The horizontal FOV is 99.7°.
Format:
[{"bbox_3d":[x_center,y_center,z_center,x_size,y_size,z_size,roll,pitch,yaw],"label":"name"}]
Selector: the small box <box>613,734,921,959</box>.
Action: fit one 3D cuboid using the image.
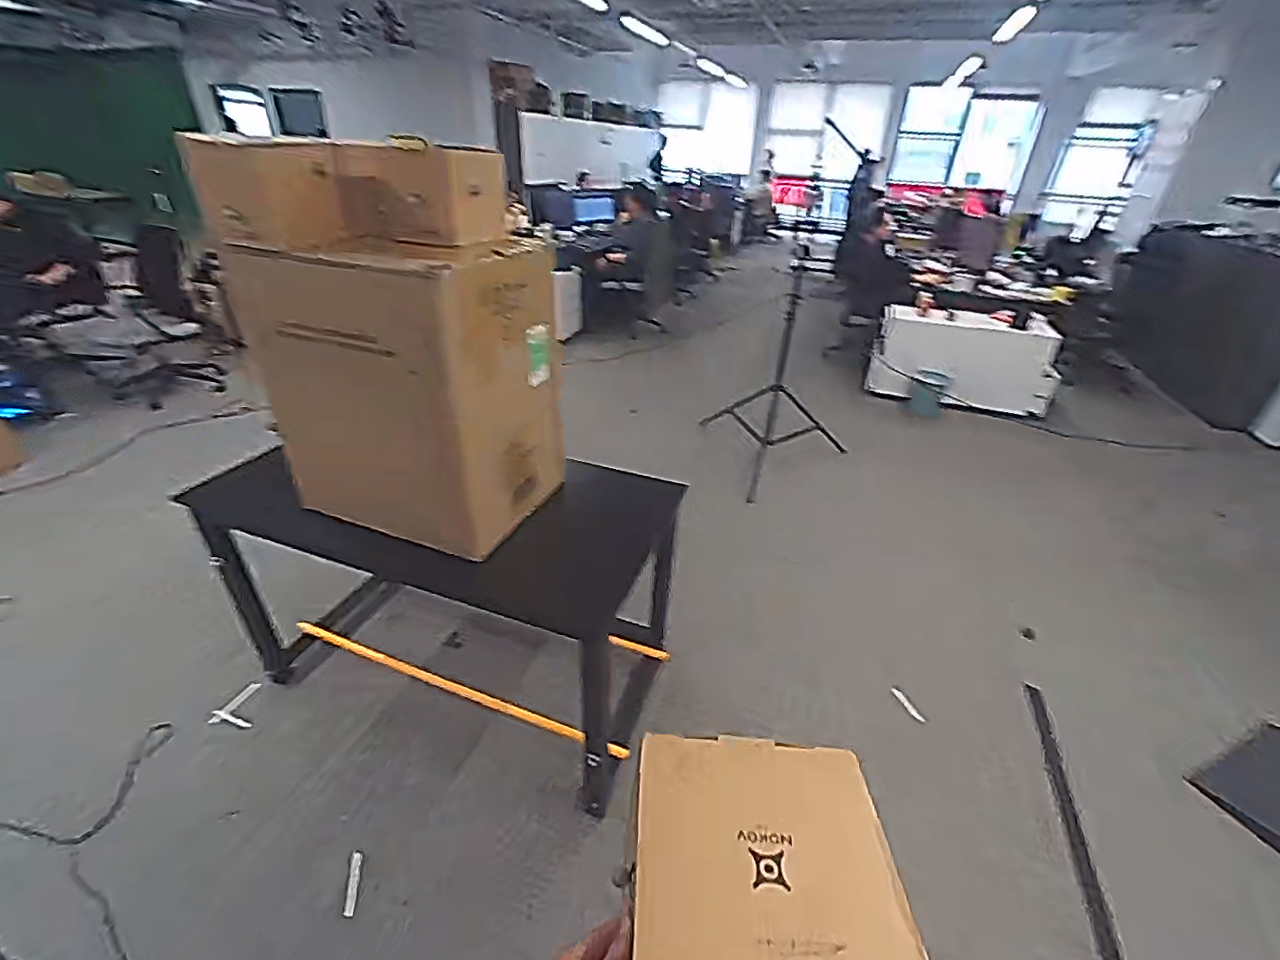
[{"bbox_3d":[0.067,0.310,0.372,0.168,0.176,0.179,5,27,-1],"label":"small box"}]
